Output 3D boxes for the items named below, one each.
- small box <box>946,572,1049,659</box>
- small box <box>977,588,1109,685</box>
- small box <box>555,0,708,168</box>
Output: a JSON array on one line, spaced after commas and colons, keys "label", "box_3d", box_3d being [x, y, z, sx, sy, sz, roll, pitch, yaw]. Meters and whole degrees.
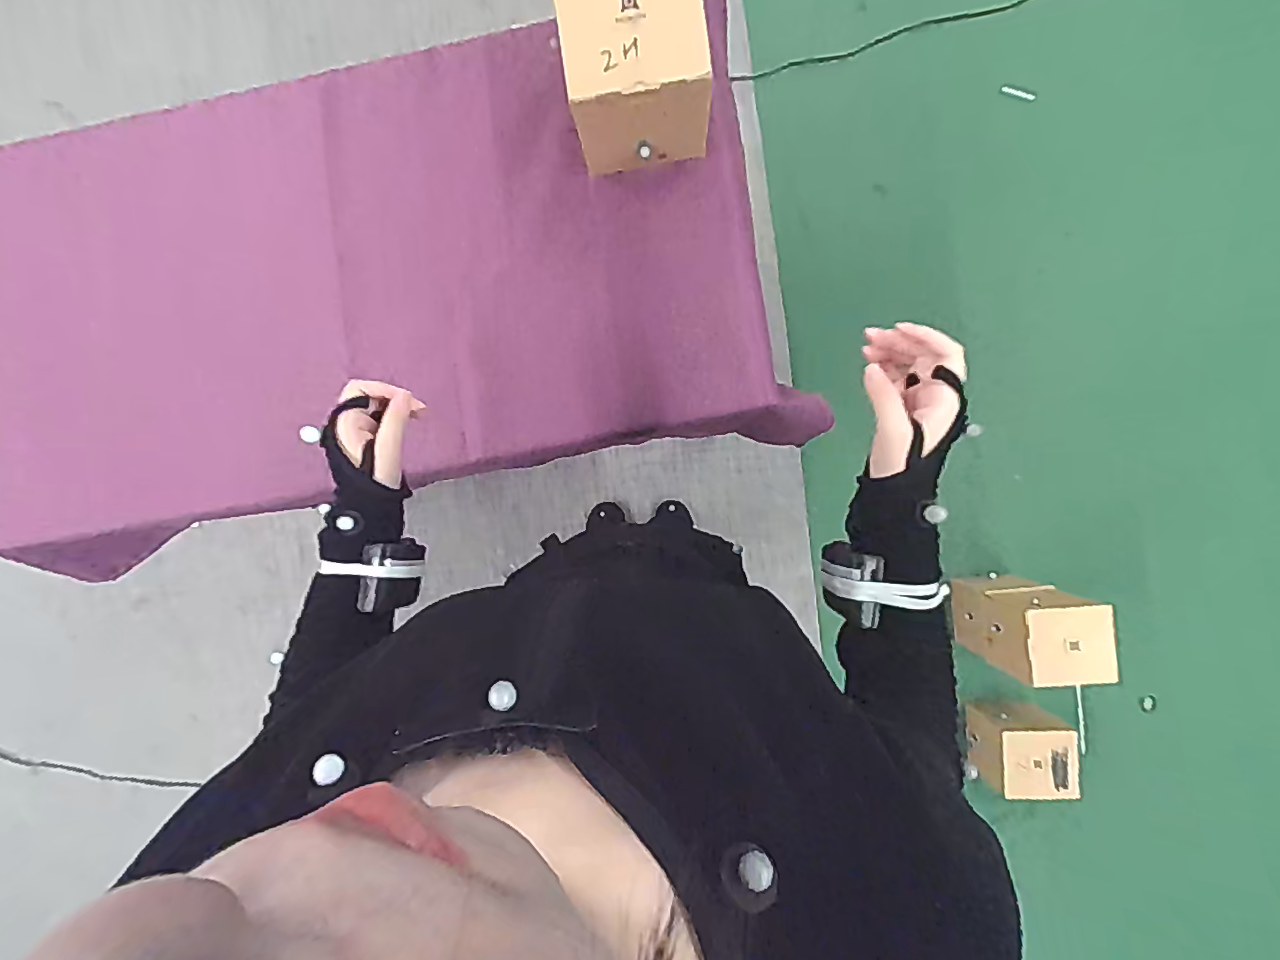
[{"label": "small box", "box_3d": [0.908, 0.341, 1.379, 0.168, 0.176, 0.179, -5, 89, 3]}, {"label": "small box", "box_3d": [0.897, 0.344, 1.216, 0.179, 0.176, 0.168, -5, 90, 3]}, {"label": "small box", "box_3d": [-0.010, -0.533, 0.681, 0.168, 0.176, 0.179, -7, 94, 4]}]
